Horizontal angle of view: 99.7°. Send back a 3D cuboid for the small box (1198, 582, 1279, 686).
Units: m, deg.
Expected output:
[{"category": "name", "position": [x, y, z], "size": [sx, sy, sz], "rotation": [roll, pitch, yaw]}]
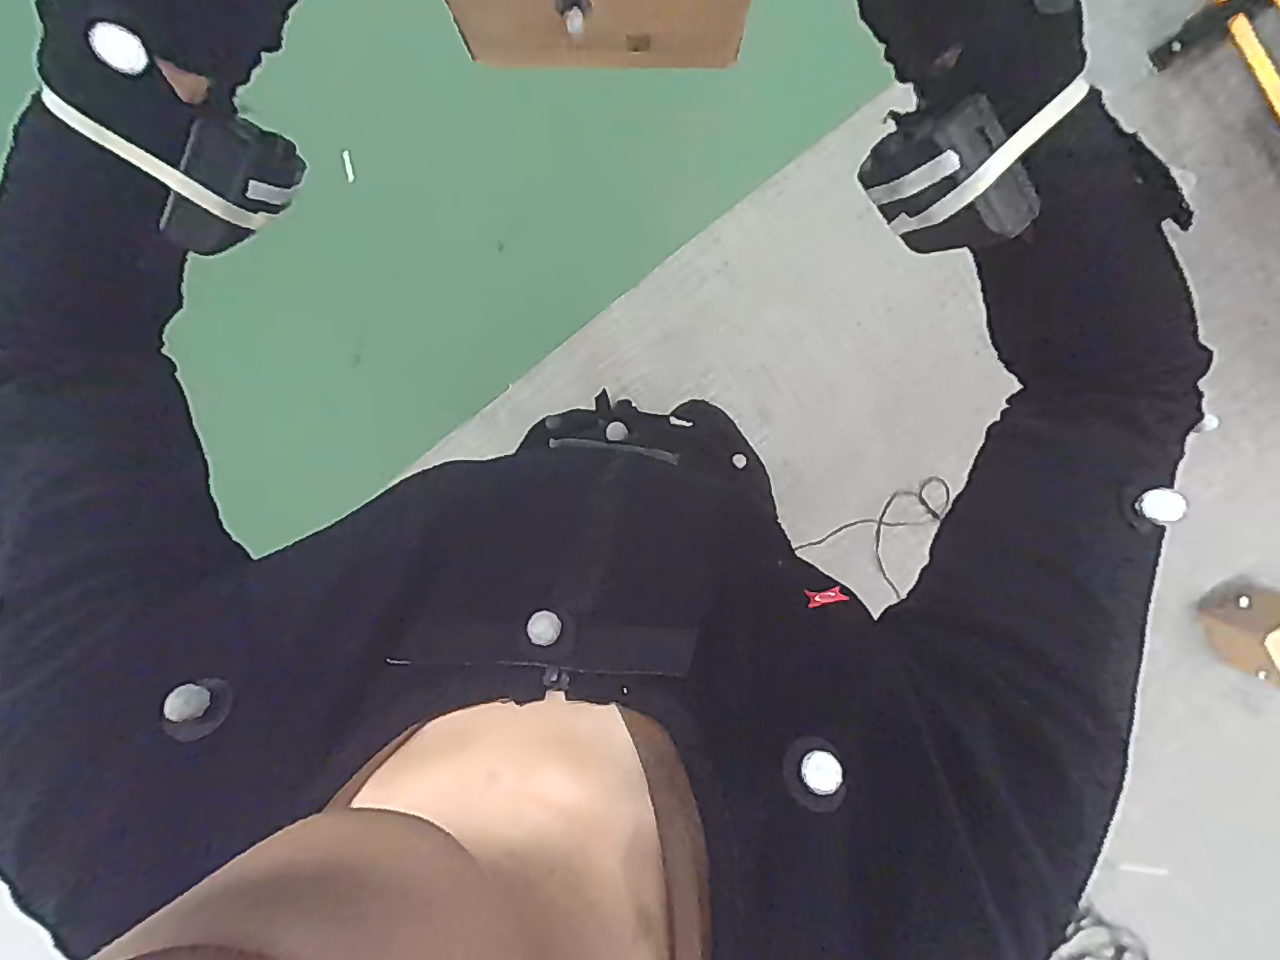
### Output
[{"category": "small box", "position": [1.623, 0.393, 1.393], "size": [0.168, 0.176, 0.179], "rotation": [-32, 95, 5]}]
